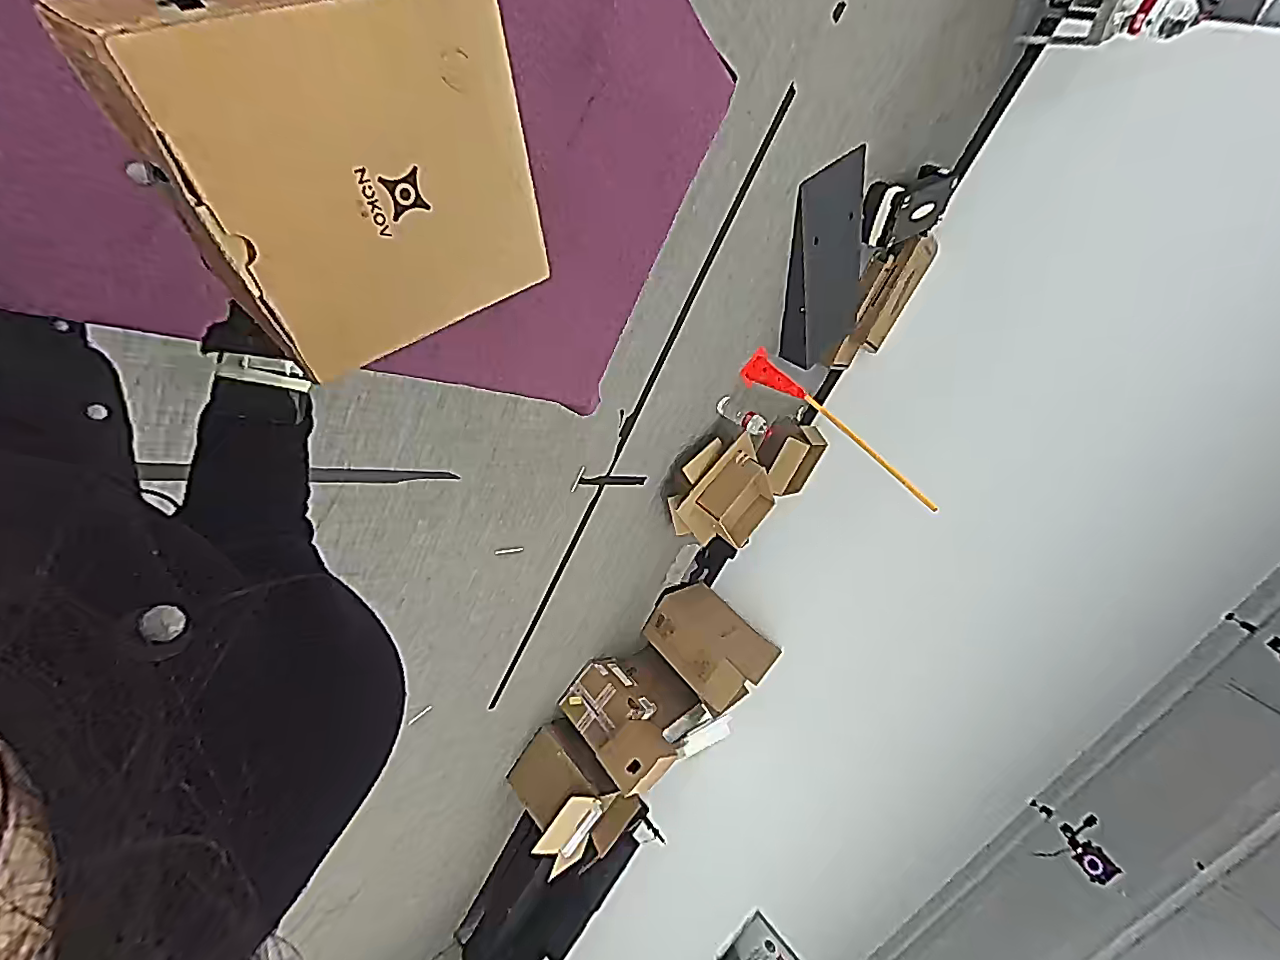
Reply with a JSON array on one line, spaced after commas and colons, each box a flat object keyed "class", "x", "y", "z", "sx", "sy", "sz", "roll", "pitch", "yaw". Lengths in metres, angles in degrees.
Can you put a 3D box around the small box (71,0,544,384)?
[{"class": "small box", "x": -0.191, "y": -0.199, "z": 0.345, "sx": 0.179, "sy": 0.176, "sz": 0.168, "roll": -37, "pitch": 147, "yaw": -25}]
